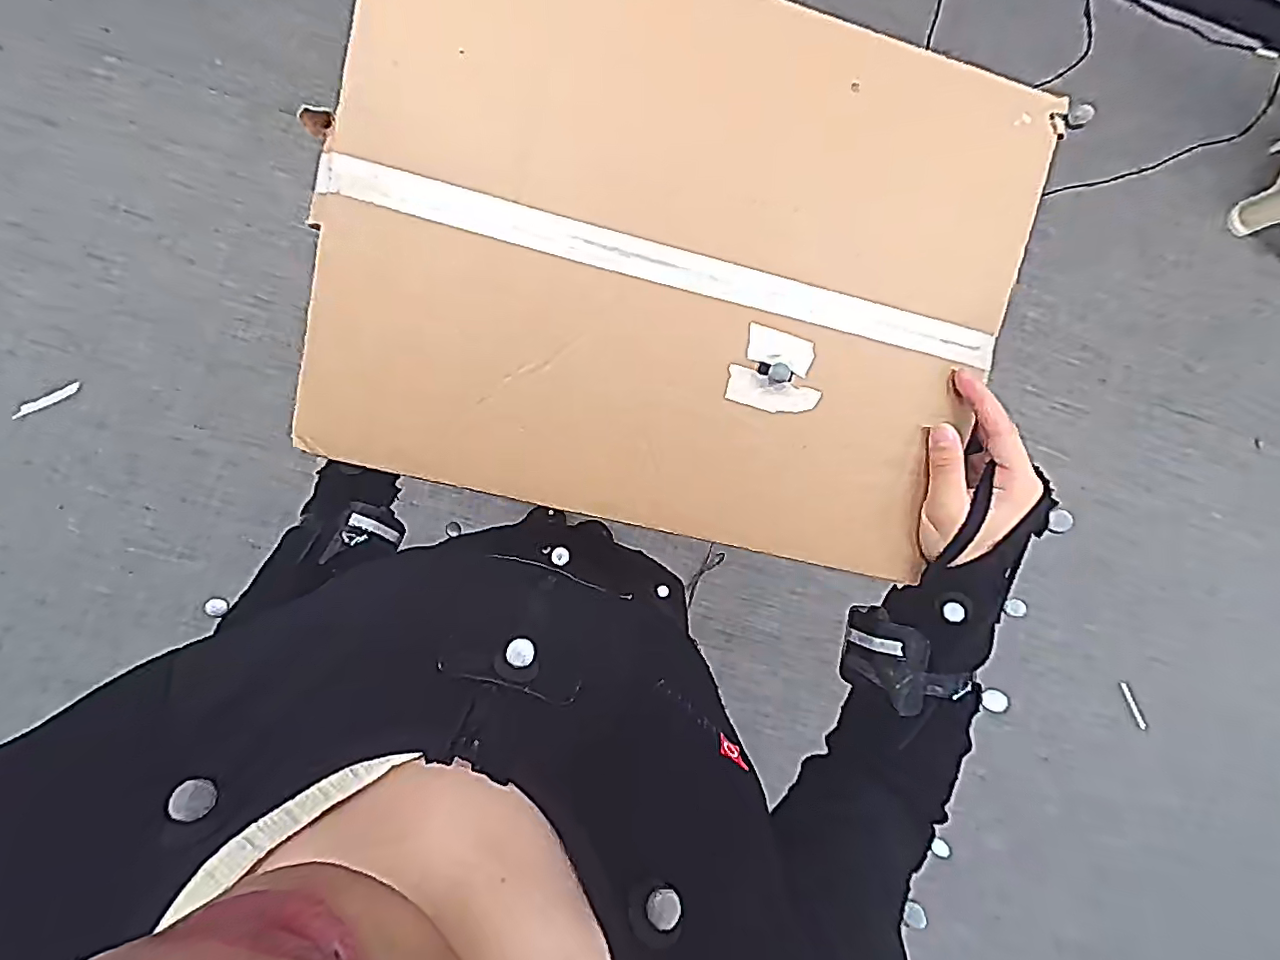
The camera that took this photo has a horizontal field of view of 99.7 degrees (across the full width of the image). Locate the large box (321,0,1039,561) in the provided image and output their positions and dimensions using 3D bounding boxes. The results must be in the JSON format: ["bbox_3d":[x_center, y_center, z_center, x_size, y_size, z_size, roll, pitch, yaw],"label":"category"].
[{"bbox_3d":[0.013,-0.149,0.479,0.408,0.320,0.320,12,98,-8],"label":"large box"}]
